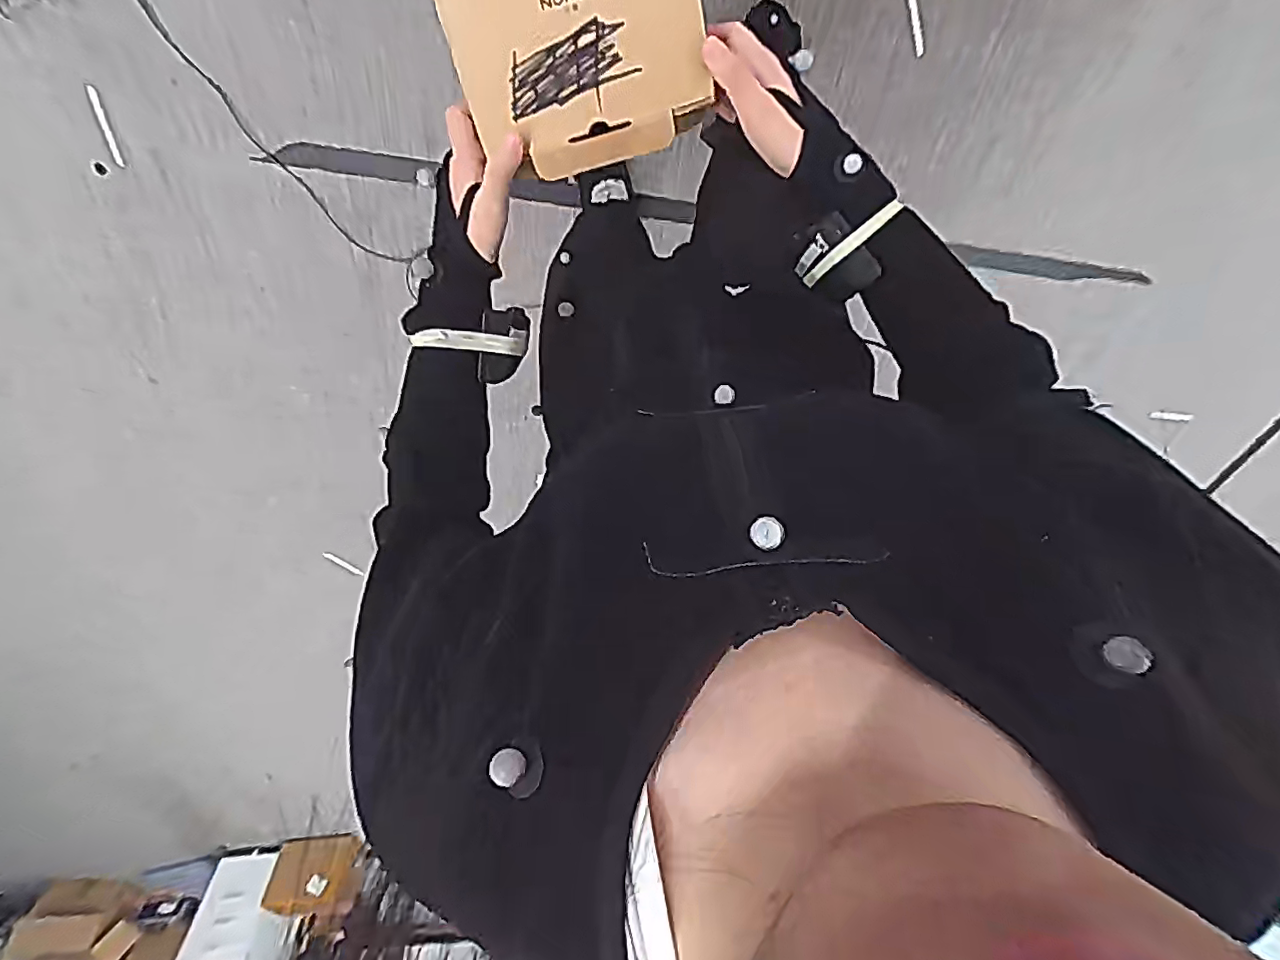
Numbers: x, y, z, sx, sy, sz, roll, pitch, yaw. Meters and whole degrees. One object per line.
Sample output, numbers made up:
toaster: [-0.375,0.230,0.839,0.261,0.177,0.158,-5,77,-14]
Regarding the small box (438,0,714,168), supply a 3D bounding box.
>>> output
small box: [-0.047,-0.350,0.406,0.168,0.176,0.179,-13,116,6]
